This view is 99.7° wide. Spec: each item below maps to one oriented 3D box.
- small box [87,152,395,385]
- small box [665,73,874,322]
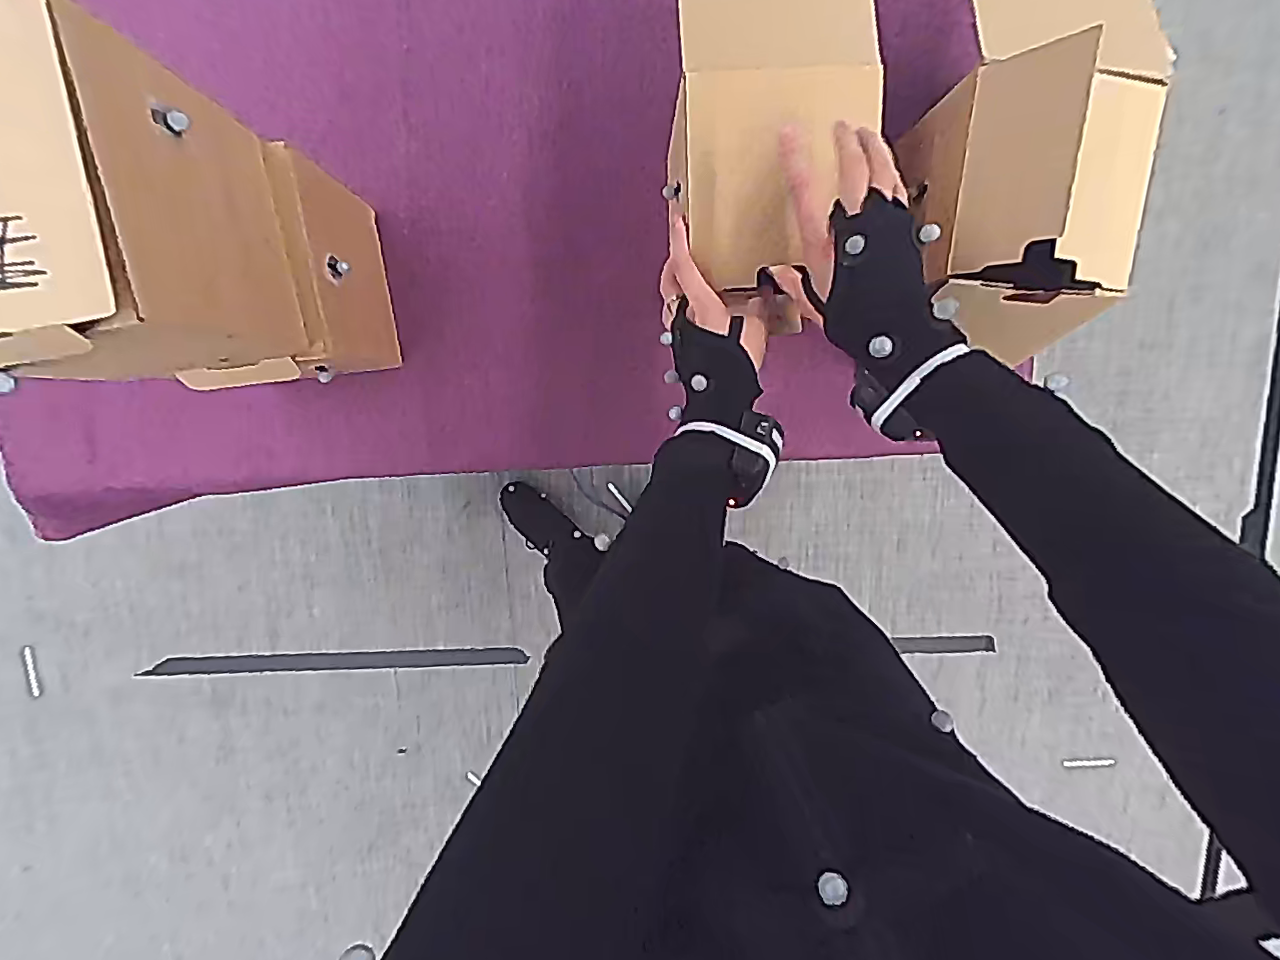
[{"bbox_3d":[-0.365,-0.190,0.536,0.168,0.176,0.179,-7,99,-1],"label":"small box"},{"bbox_3d":[0.113,-0.260,0.536,0.168,0.176,0.179,-2,99,-1],"label":"small box"}]
